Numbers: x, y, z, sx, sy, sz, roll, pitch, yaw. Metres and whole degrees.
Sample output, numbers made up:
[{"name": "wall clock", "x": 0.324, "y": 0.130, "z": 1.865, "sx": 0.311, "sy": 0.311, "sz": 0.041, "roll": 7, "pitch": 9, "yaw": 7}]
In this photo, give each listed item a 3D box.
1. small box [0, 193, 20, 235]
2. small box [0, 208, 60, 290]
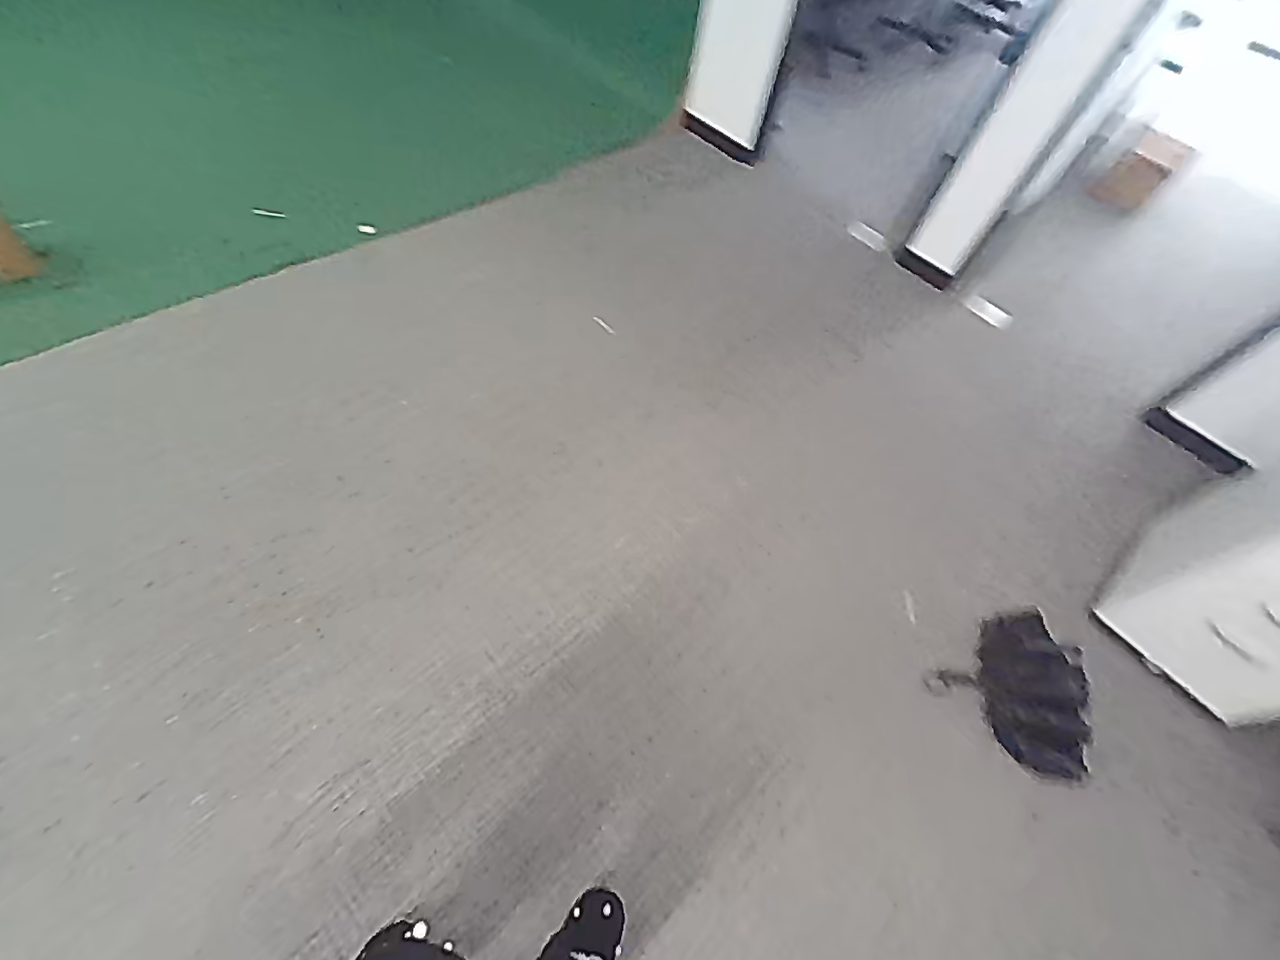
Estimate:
[{"name": "small box", "x": -2.047, "y": -0.848, "z": 1.626, "sx": 0.168, "sy": 0.176, "sz": 0.179, "roll": -33, "pitch": 67, "yaw": -25}, {"name": "small box", "x": -2.068, "y": -0.755, "z": 1.759, "sx": 0.168, "sy": 0.176, "sz": 0.179, "roll": -34, "pitch": 70, "yaw": -25}]
